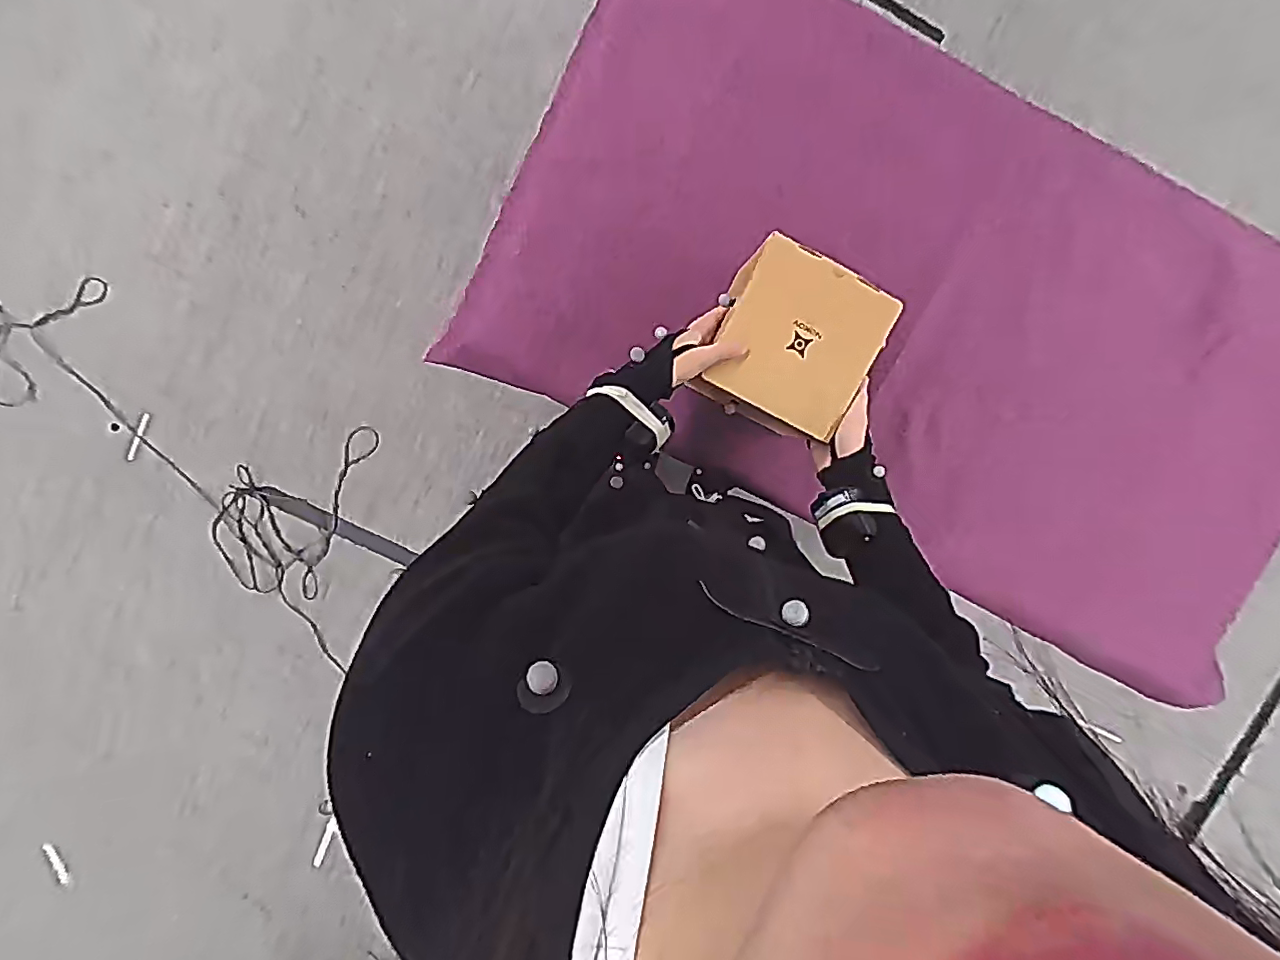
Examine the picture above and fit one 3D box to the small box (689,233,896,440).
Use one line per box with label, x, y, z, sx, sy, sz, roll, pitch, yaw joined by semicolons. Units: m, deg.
small box;0.173;-0.166;0.679;0.168;0.176;0.179;27;94;-5
